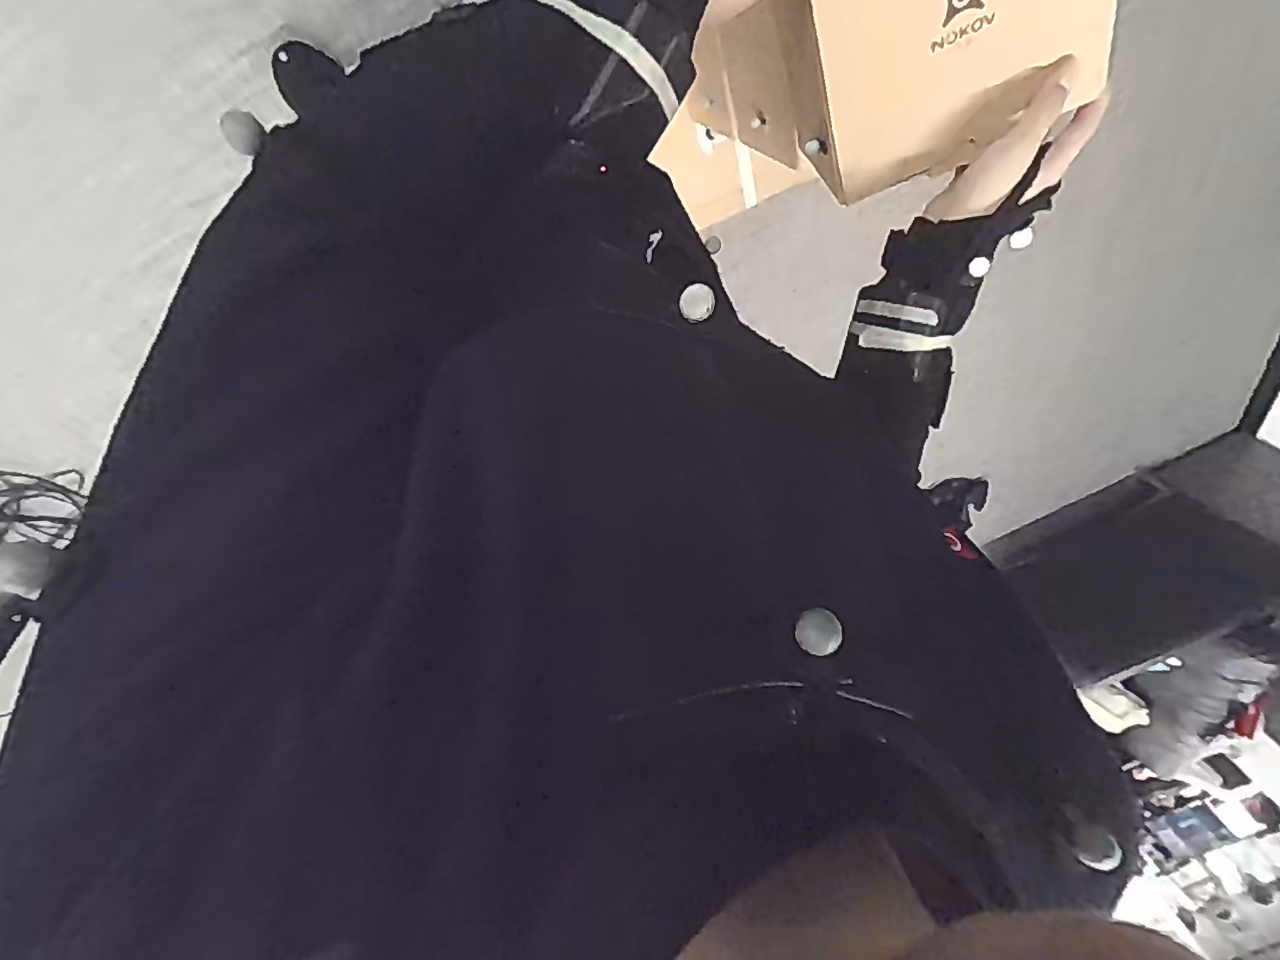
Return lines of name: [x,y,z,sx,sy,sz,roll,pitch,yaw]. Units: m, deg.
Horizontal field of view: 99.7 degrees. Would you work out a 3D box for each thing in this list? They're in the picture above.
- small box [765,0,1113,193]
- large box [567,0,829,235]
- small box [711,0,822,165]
small box: [0.182,-0.340,0.368,0.168,0.176,0.179,-18,132,19]
large box: [0.093,-0.708,0.903,0.320,0.320,0.408,-23,135,3]
small box: [0.193,-0.479,0.578,0.168,0.176,0.179,-27,133,3]
